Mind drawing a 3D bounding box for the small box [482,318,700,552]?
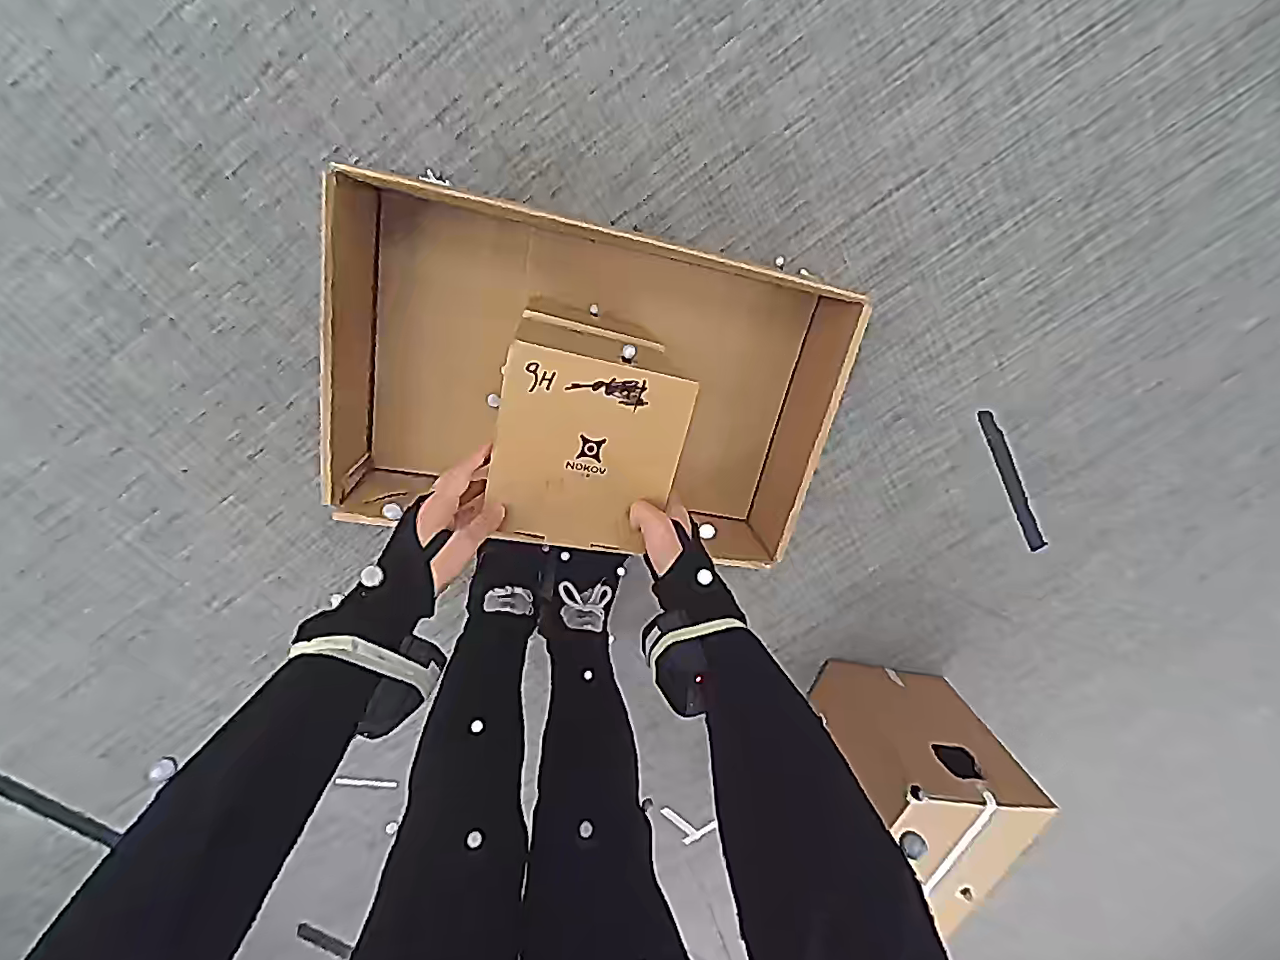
[{"bbox_3d":[-0.057,-0.053,0.554,0.168,0.176,0.179,10,111,-14],"label":"small box"}]
